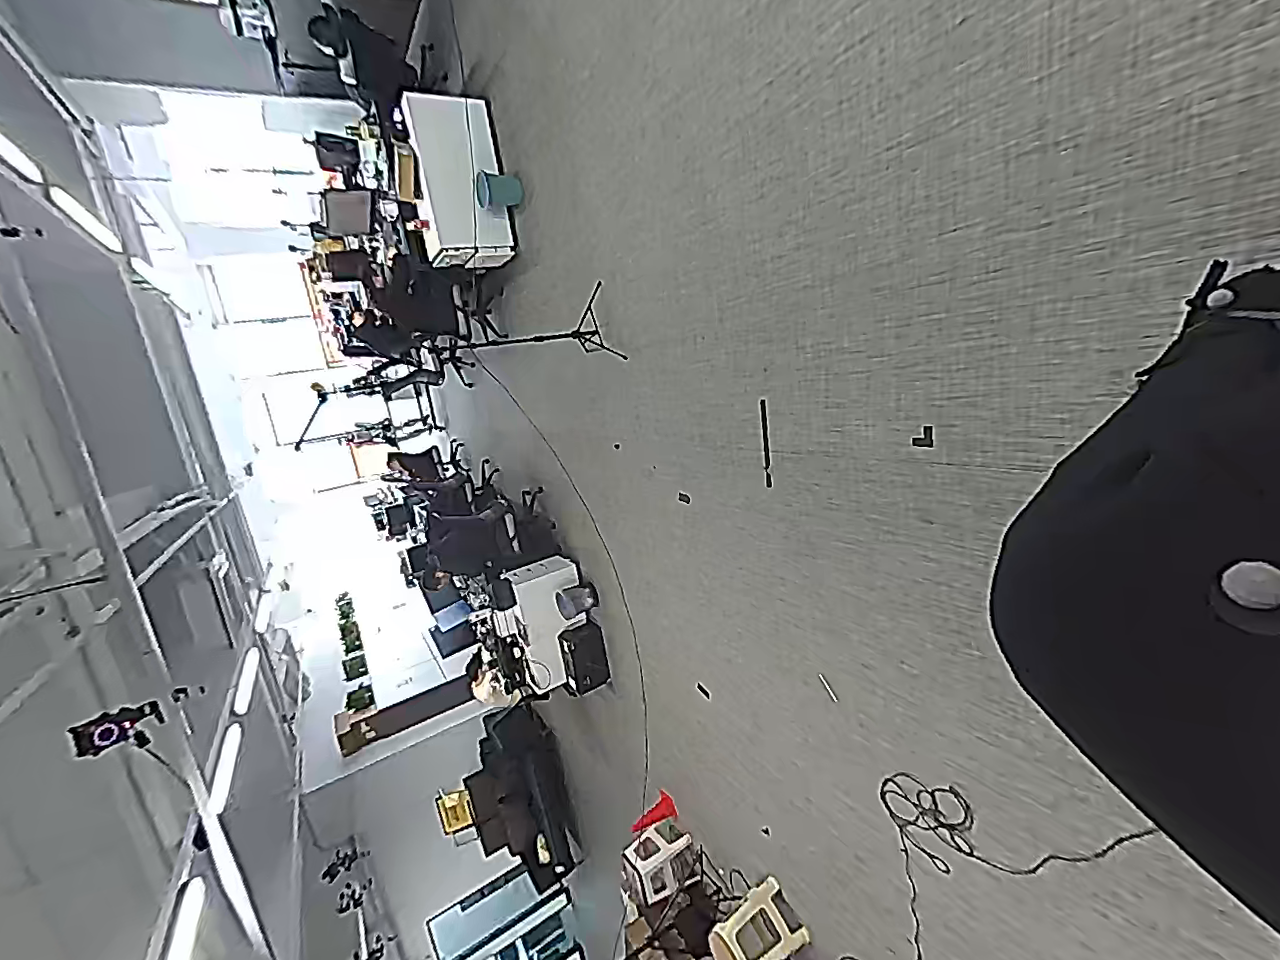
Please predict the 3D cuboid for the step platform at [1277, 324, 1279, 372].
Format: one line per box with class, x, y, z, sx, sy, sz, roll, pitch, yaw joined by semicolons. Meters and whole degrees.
step platform;1.387;-0.245;0.730;0.684;0.204;0.286;9;112;58
